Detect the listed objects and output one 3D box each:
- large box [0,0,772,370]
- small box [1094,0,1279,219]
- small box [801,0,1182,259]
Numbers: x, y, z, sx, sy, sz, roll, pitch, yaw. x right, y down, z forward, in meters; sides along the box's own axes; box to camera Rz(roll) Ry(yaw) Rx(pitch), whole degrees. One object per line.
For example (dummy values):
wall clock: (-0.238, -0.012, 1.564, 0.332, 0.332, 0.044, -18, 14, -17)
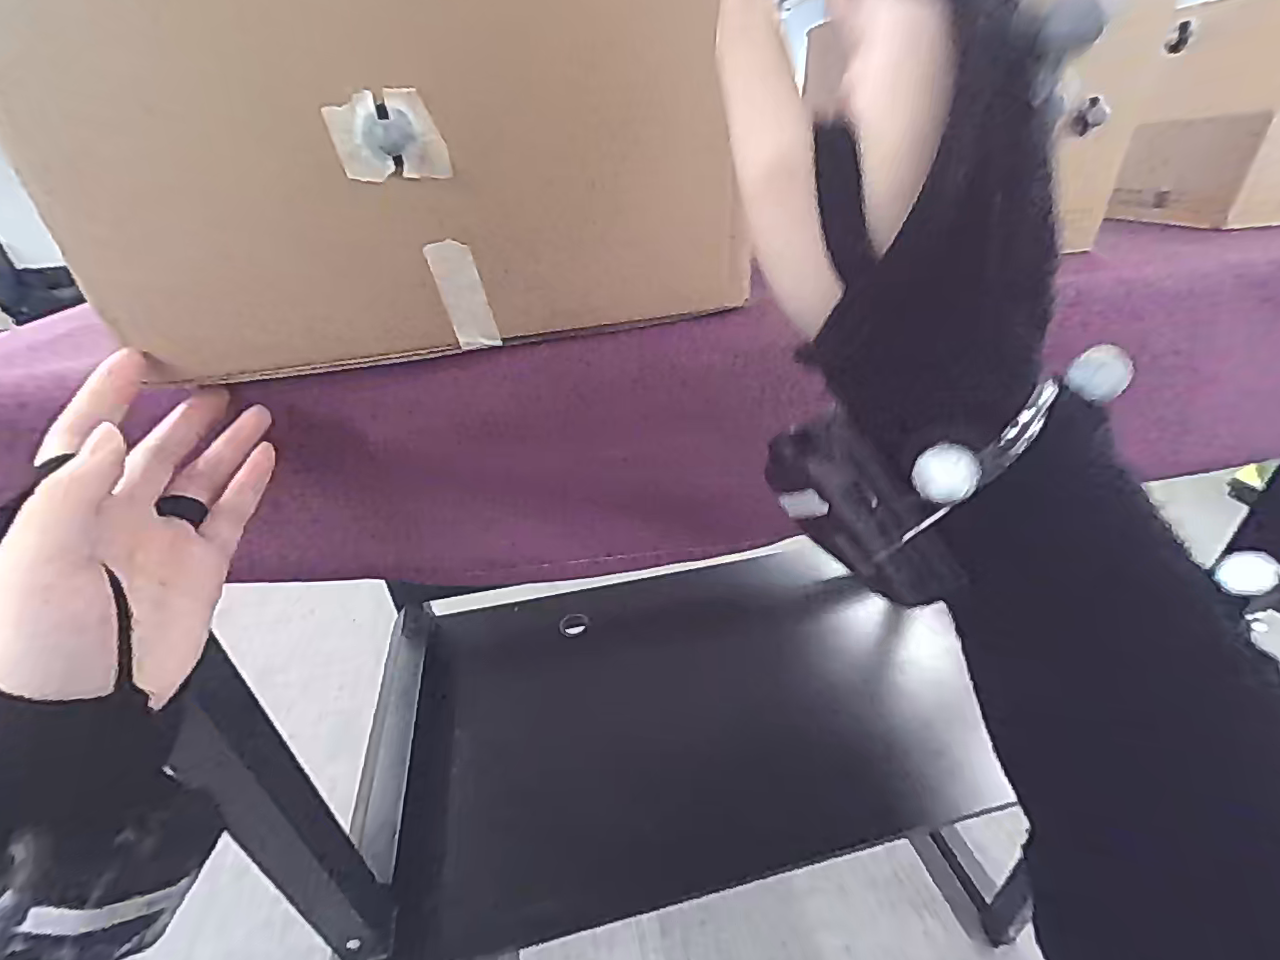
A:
large box: (-0.142, -0.296, 0.364, 0.320, 0.320, 0.408, -11, 31, -13)
small box: (0.558, -0.338, 0.483, 0.179, 0.176, 0.168, -7, 30, -5)
small box: (0.245, -0.281, 0.427, 0.179, 0.176, 0.168, -8, 31, -7)
